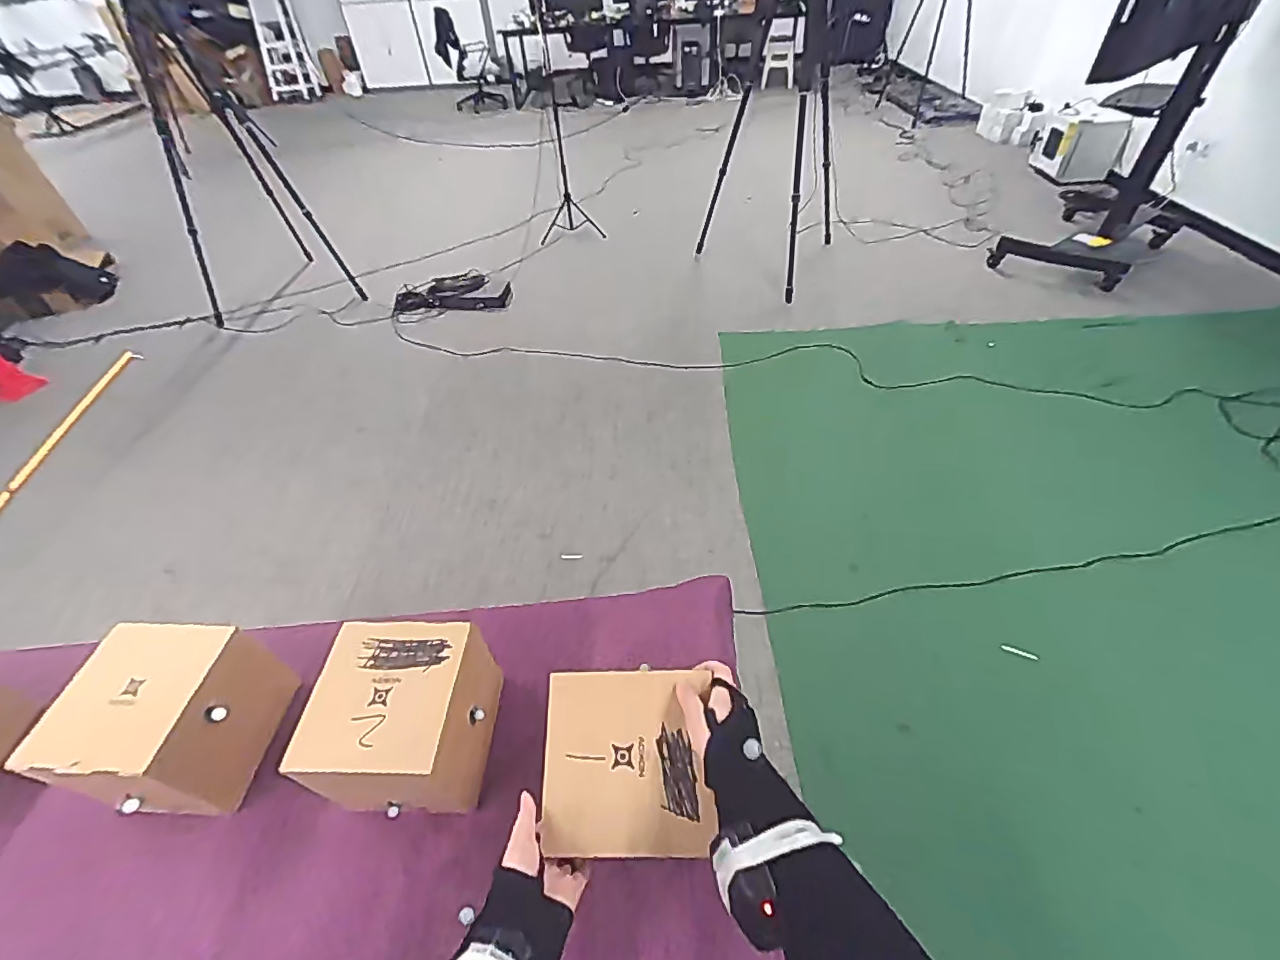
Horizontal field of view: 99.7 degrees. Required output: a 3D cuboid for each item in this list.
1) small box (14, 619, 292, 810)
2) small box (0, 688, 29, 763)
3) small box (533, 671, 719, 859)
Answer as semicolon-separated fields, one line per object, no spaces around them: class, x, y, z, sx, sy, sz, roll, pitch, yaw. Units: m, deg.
small box;-0.593;0.301;0.696;0.168;0.176;0.179;0;47;5
small box;-0.958;0.341;0.680;0.168;0.176;0.179;-5;46;0
small box;-0.008;0.311;0.607;0.179;0.176;0.168;-2;63;4
